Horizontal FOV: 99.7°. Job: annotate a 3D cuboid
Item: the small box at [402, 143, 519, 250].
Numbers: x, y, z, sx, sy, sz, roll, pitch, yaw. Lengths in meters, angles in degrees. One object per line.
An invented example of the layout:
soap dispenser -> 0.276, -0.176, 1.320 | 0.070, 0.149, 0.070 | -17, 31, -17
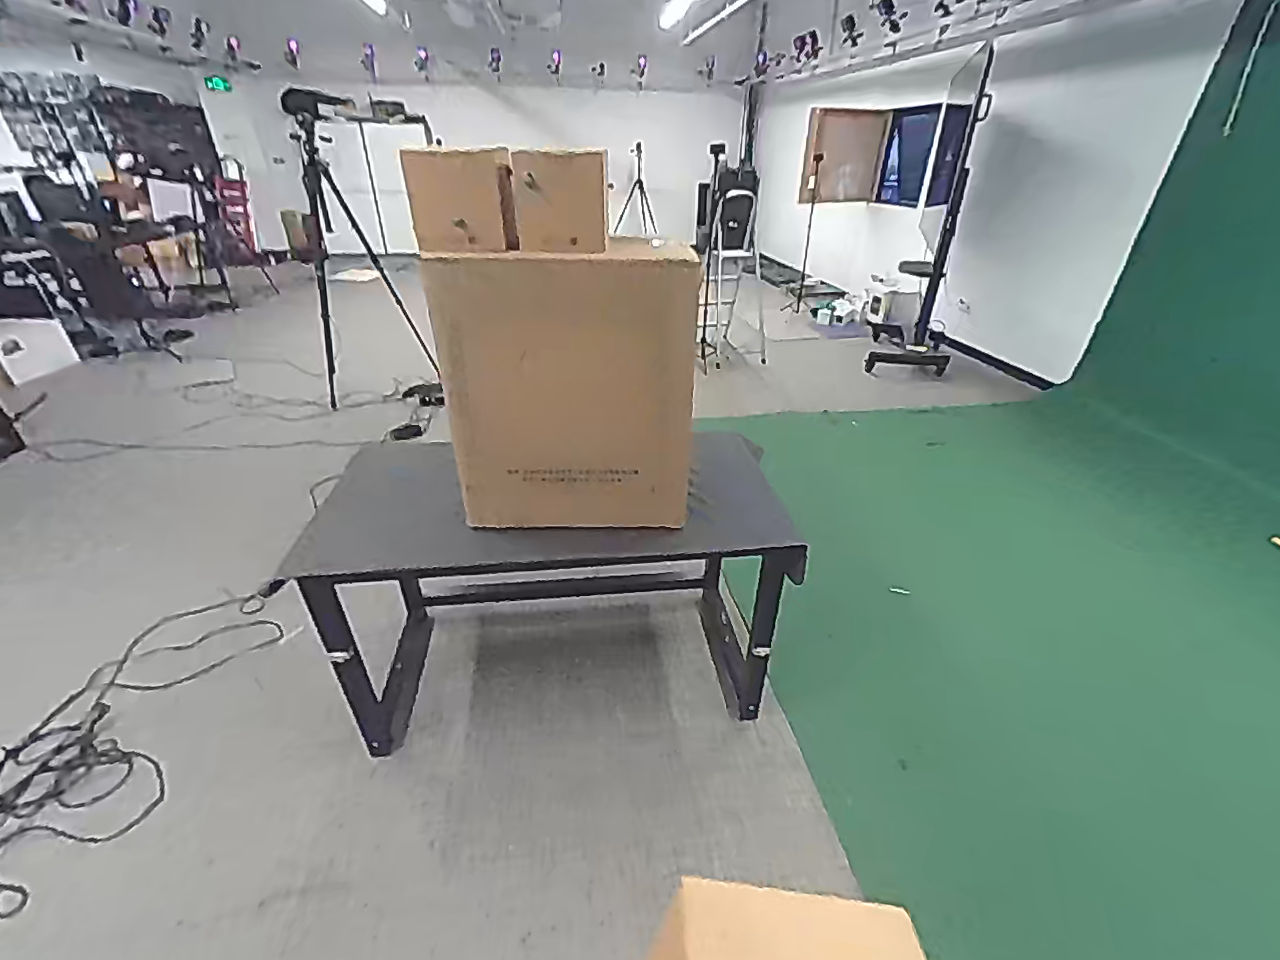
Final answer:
small box -> -0.333, -0.549, 1.042 | 0.168, 0.176, 0.179 | -2, 33, -2

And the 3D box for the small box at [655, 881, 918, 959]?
small box -> 0.087, 0.400, 0.334 | 0.168, 0.176, 0.179 | 12, 25, -6
